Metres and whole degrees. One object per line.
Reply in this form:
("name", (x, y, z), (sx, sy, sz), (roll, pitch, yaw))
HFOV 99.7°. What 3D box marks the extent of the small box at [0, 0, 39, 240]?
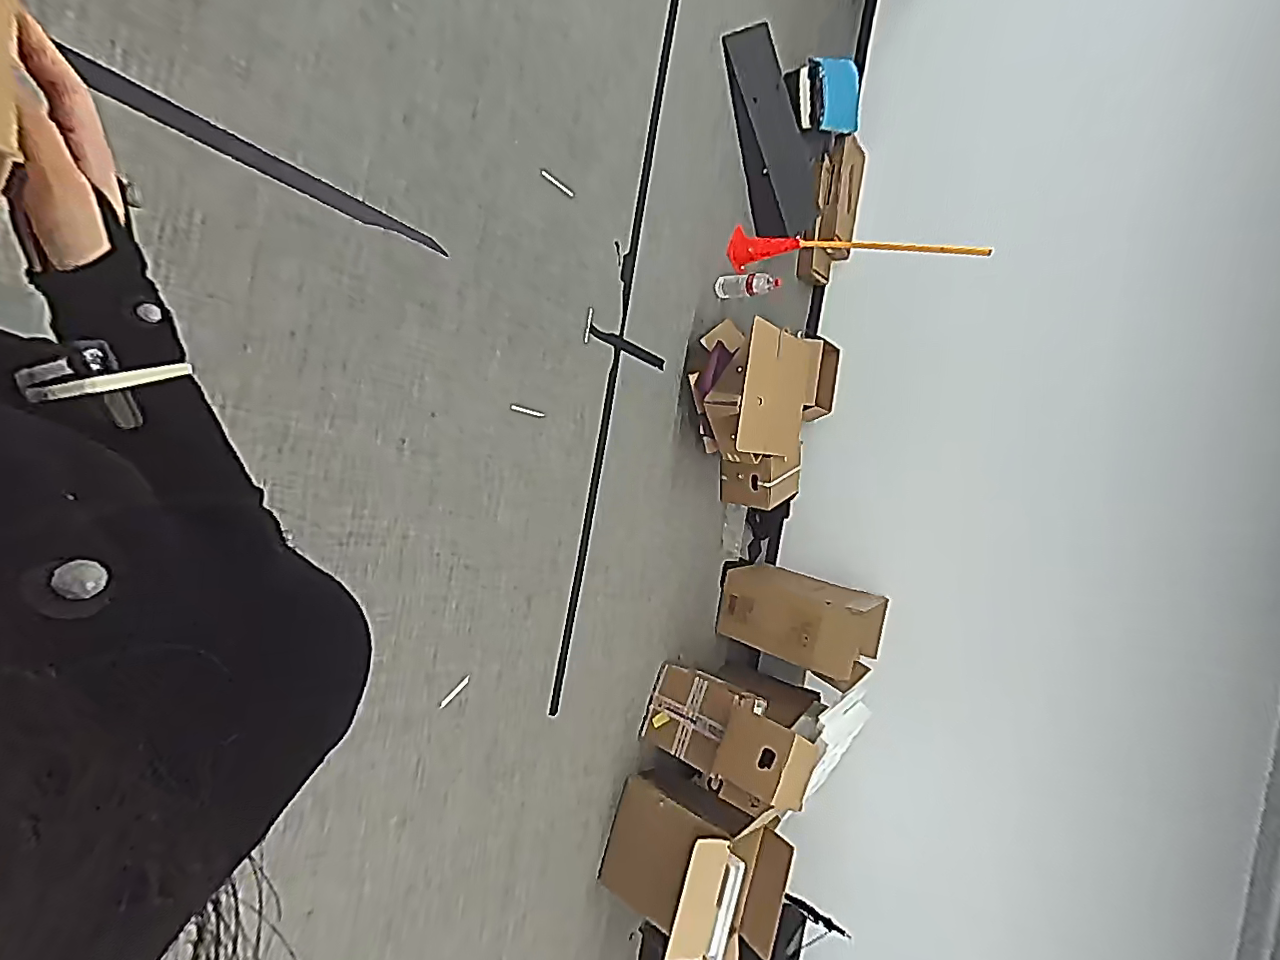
("small box", (-0.407, -0.223, 0.241), (0.168, 0.176, 0.179), (1, 81, -56))
